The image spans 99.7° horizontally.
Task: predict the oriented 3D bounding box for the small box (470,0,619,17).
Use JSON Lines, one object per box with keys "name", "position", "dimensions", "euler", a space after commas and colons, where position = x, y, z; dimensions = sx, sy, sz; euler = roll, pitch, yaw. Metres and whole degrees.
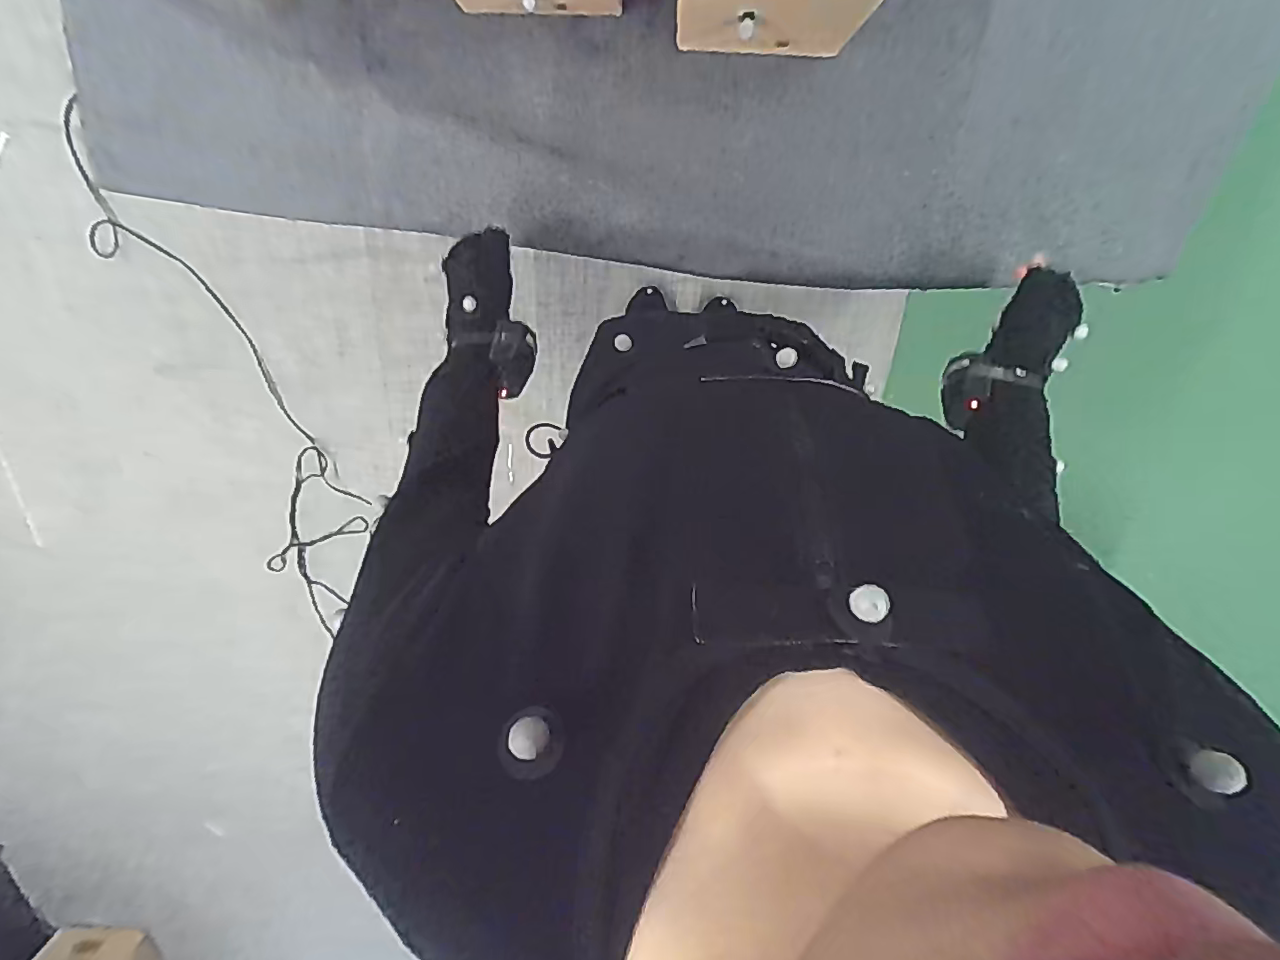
{"name": "small box", "position": [-0.100, -0.529, 0.446], "dimensions": [0.168, 0.176, 0.179], "euler": [3, 113, 1]}
